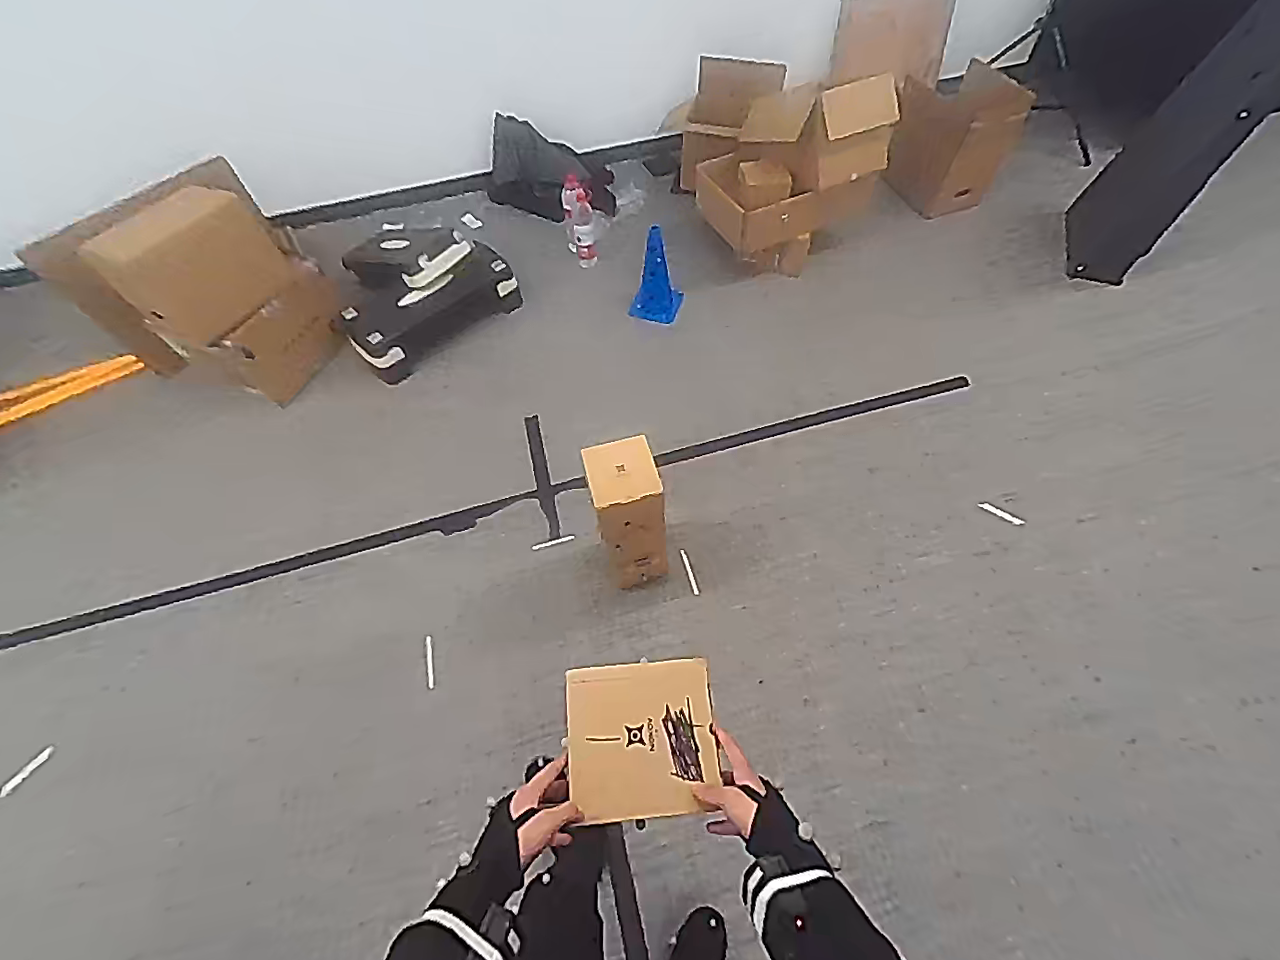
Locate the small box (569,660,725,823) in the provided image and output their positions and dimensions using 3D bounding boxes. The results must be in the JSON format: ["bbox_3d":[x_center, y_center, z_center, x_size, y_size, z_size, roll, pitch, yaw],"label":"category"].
[{"bbox_3d":[0.001,0.336,0.702,0.179,0.176,0.168,-3,62,-3],"label":"small box"}]

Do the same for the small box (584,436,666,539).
[{"bbox_3d":[-0.037,0.021,1.351,0.168,0.176,0.179,-14,59,-6],"label":"small box"}]

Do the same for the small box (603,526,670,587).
[{"bbox_3d":[-0.015,0.196,1.627,0.168,0.176,0.179,-17,60,-7],"label":"small box"}]
